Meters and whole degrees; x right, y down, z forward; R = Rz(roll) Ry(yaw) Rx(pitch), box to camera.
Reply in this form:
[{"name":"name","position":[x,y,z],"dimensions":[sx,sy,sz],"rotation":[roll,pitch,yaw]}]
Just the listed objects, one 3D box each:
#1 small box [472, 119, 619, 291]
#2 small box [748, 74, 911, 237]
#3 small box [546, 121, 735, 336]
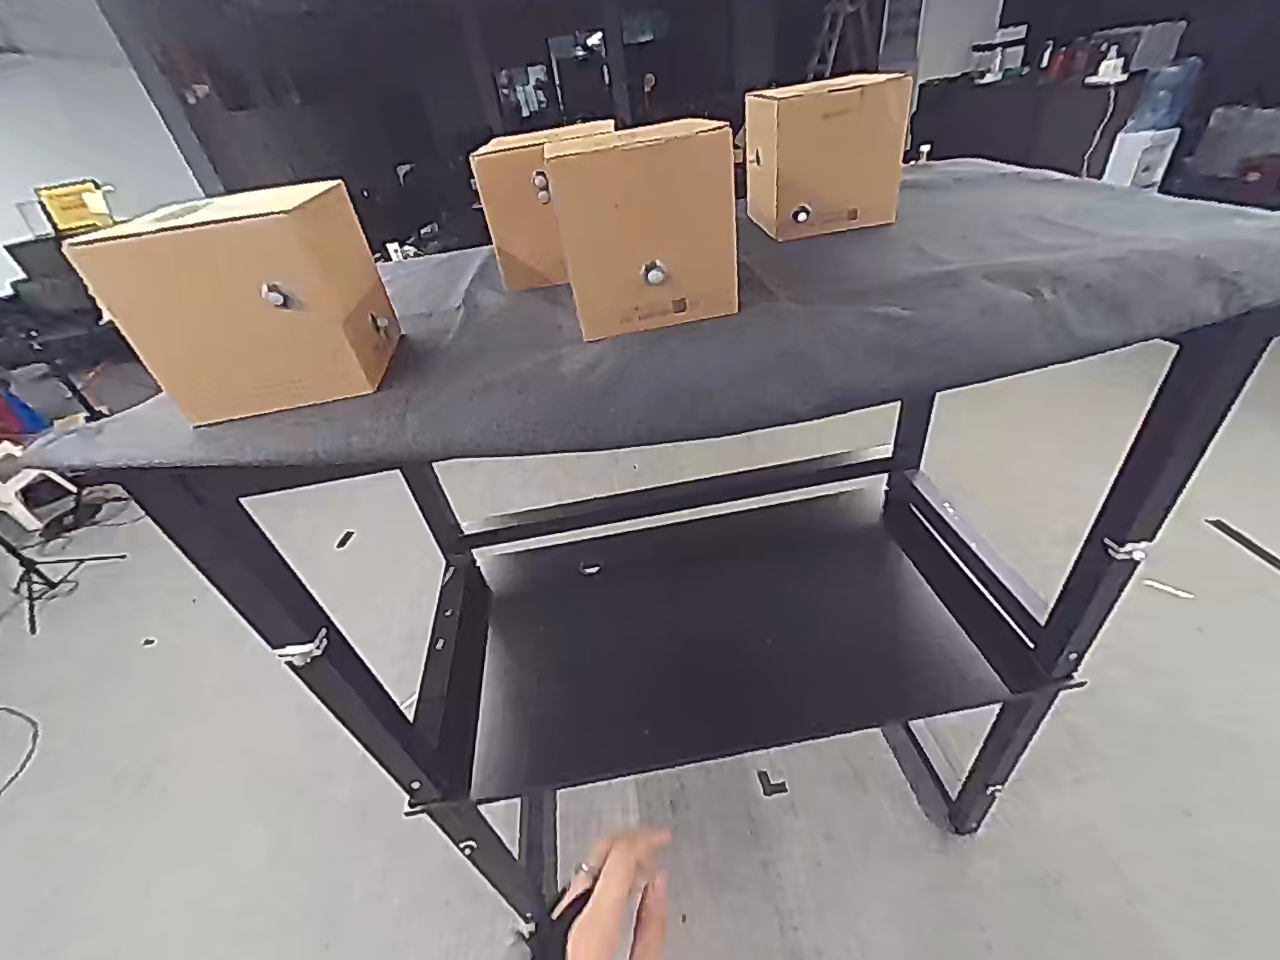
[{"name":"small box","position":[-0.105,-0.377,0.744],"dimensions":[0.179,0.176,0.168],"rotation":[-7,38,3]},{"name":"small box","position":[0.254,-0.453,0.763],"dimensions":[0.168,0.176,0.179],"rotation":[-8,37,1]},{"name":"small box","position":[-0.001,-0.270,0.578],"dimensions":[0.168,0.176,0.179],"rotation":[-11,37,-2]}]
